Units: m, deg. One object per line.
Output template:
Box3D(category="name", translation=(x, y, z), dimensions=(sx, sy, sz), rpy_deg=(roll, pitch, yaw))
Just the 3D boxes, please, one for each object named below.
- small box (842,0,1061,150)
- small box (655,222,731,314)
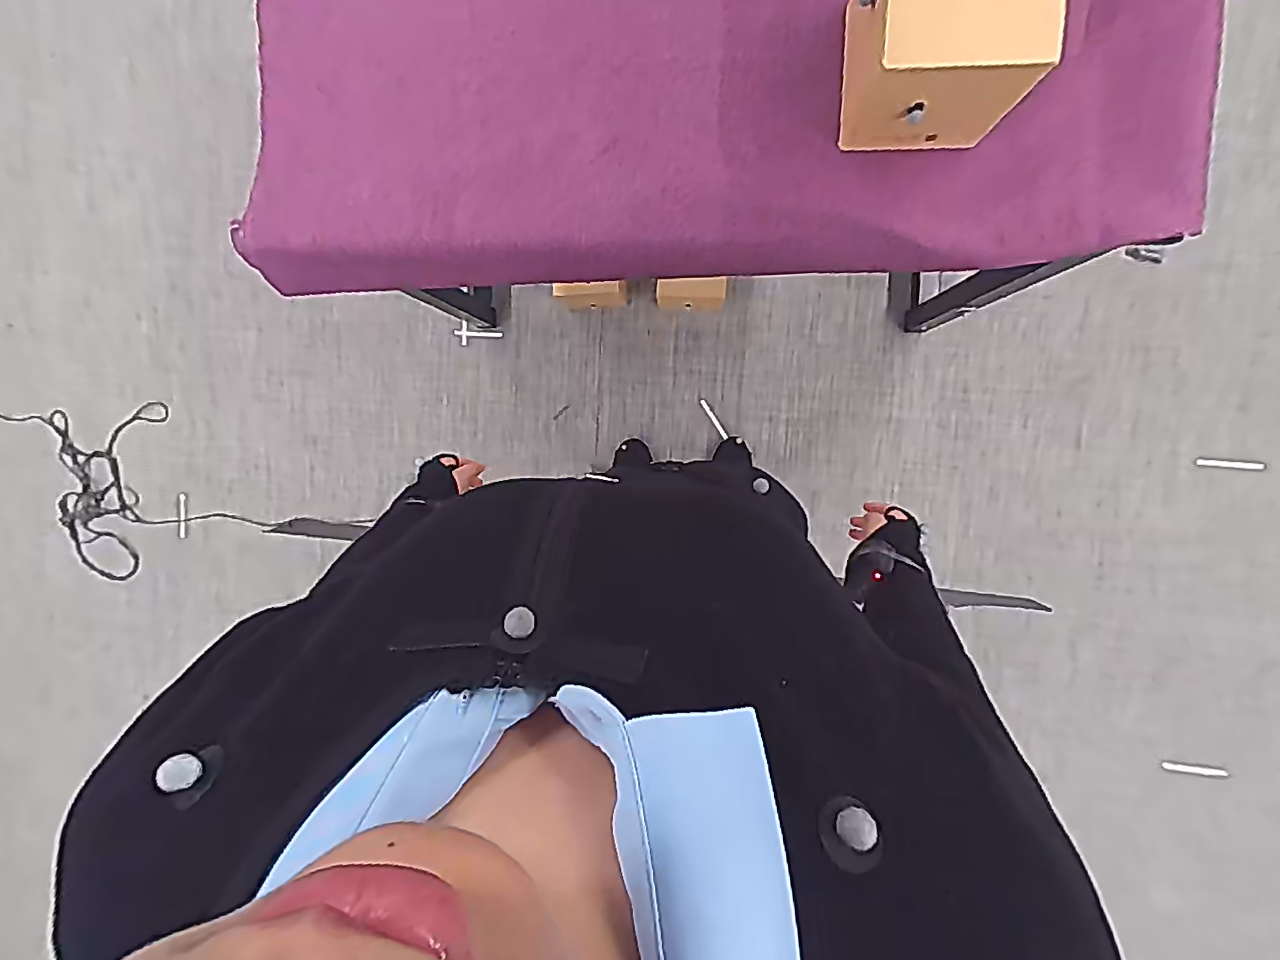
Box3D(category="small box", translation=(0.333, -0.496, 0.604), dimensions=(0.168, 0.176, 0.179), rpy_deg=(2, 95, 6))
Box3D(category="small box", translation=(0.133, -0.524, 1.355), dimensions=(0.168, 0.176, 0.179), rpy_deg=(5, 95, 4))
